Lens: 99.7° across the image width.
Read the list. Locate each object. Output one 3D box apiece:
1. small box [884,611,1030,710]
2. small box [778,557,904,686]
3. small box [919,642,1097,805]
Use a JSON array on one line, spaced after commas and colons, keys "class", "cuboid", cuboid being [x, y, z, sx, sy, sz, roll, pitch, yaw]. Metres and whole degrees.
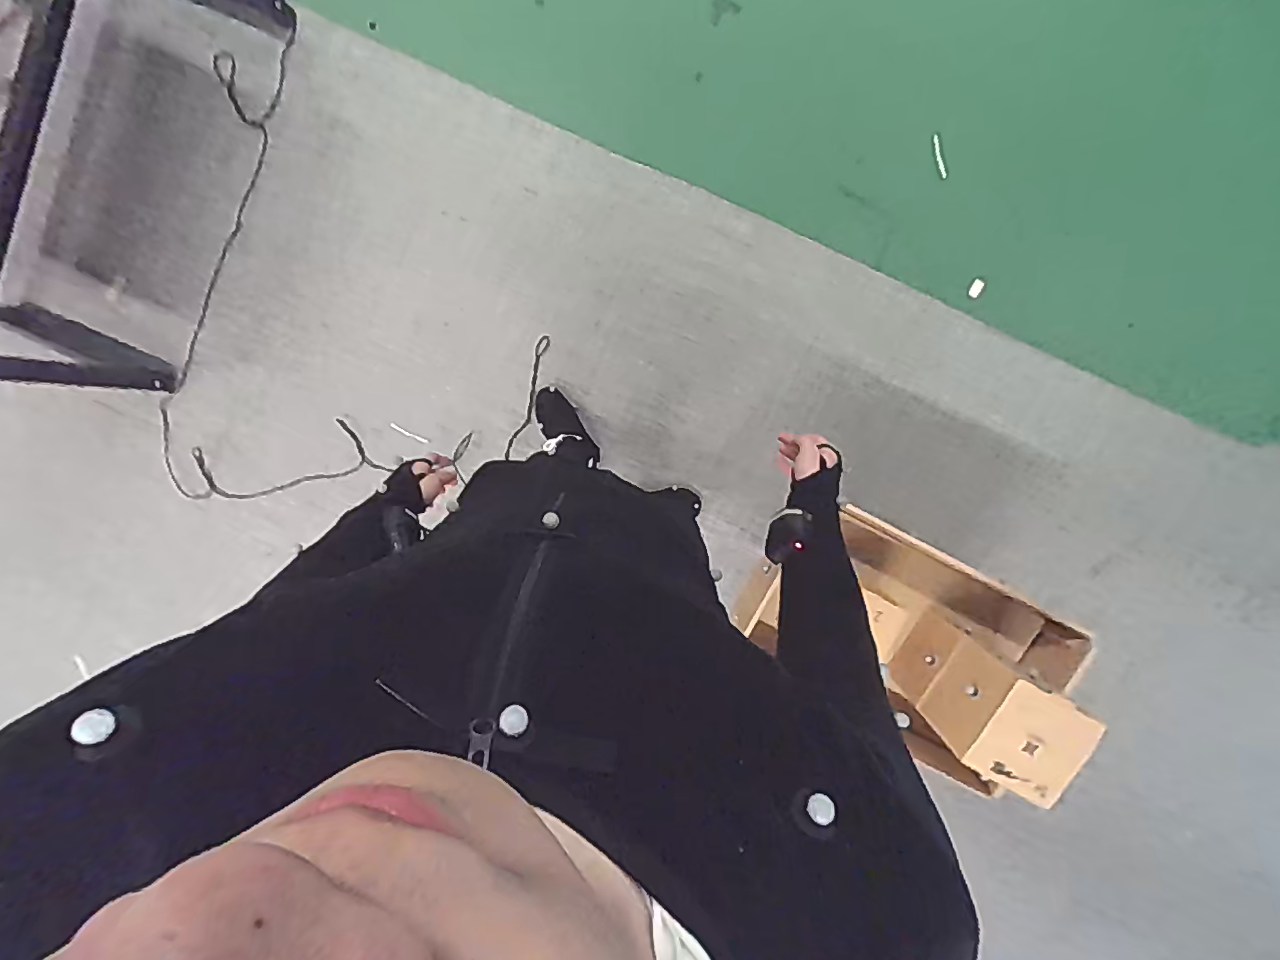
[{"class": "small box", "cuboid": [0.653, 0.406, 1.140, 0.168, 0.176, 0.179, 31, 97, 0]}, {"class": "small box", "cuboid": [0.406, 0.287, 1.133, 0.168, 0.176, 0.179, 27, 96, -1]}, {"class": "small box", "cuboid": [0.647, 0.425, 0.977, 0.168, 0.176, 0.179, 30, 95, 1]}]
